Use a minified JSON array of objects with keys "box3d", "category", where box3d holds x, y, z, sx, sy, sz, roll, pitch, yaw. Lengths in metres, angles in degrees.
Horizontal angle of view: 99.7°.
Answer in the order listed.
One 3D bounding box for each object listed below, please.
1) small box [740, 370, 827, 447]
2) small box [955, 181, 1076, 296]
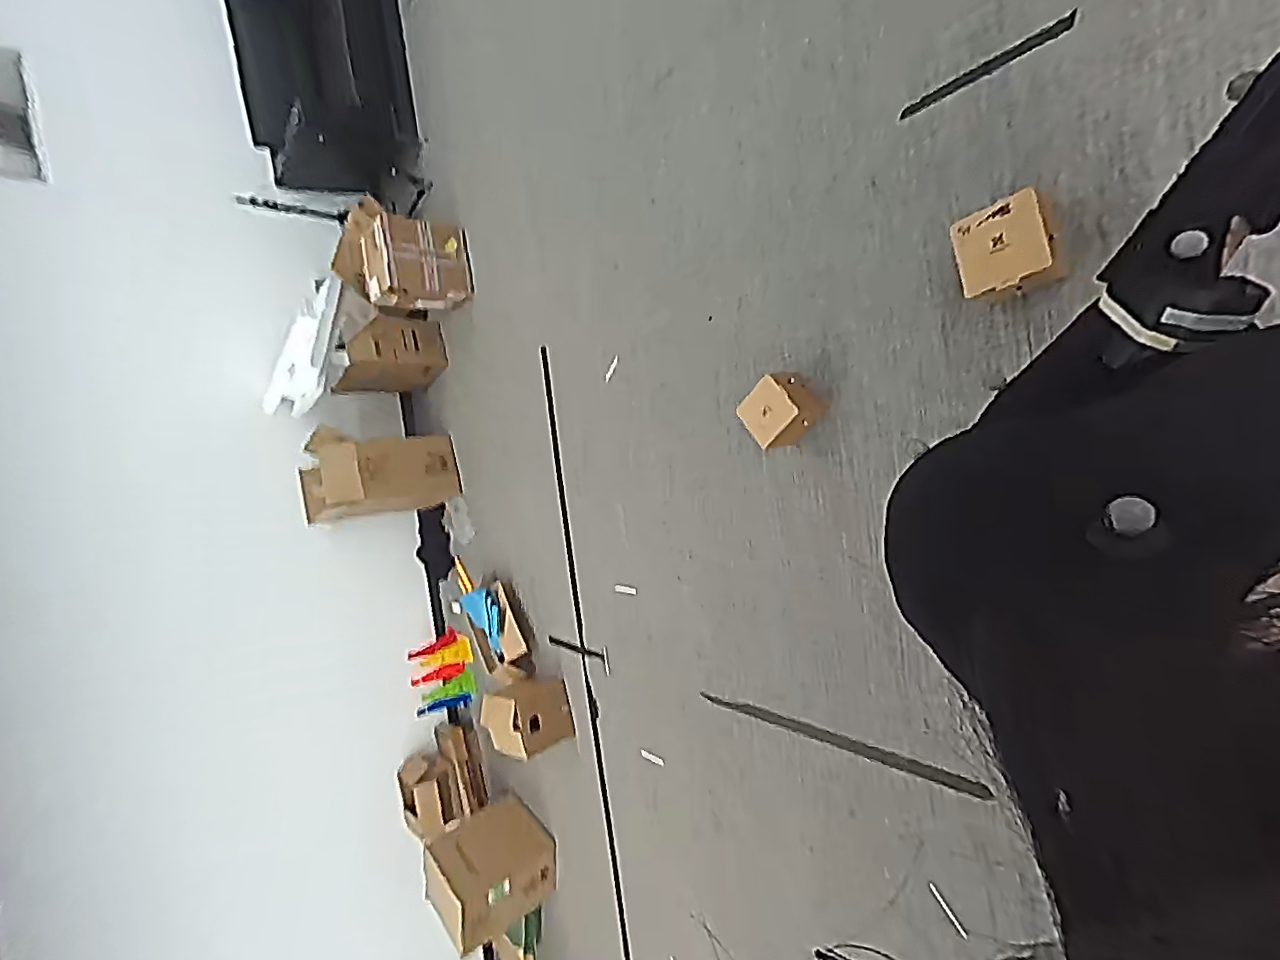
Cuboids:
[{"box3d":[0.454,-0.225,1.685,0.168,0.176,0.179,59,135,25],"category":"small box"},{"box3d":[0.832,-0.521,1.195,0.168,0.176,0.179,-14,88,49],"category":"small box"}]
